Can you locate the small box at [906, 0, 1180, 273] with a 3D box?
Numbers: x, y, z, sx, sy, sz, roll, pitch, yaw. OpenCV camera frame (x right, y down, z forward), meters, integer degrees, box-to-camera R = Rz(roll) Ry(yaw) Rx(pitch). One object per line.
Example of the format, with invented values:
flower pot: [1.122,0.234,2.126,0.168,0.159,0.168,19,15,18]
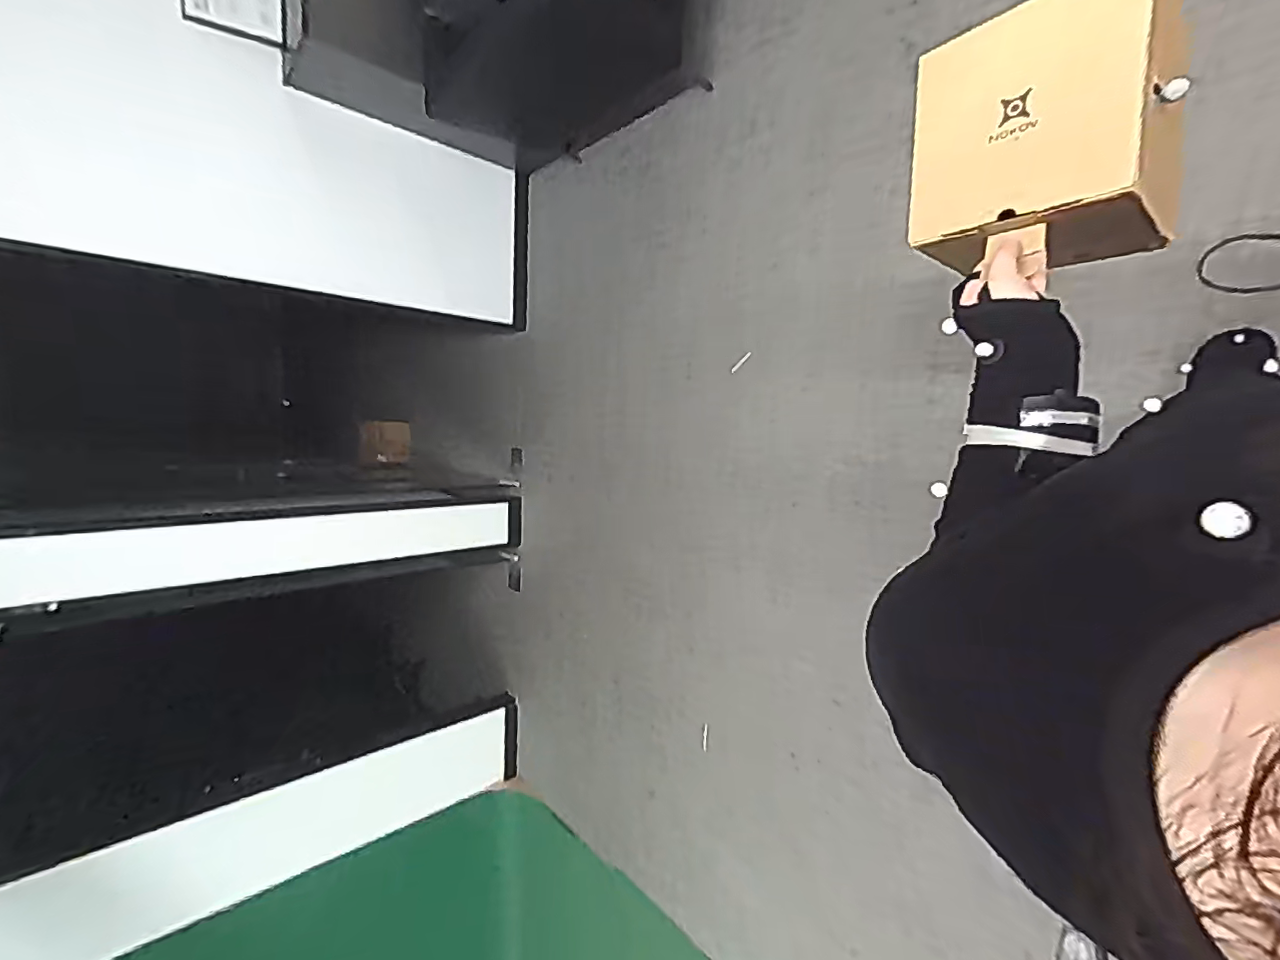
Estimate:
small box: [0.373,-0.312,0.503,0.168,0.176,0.179,8,99,50]
